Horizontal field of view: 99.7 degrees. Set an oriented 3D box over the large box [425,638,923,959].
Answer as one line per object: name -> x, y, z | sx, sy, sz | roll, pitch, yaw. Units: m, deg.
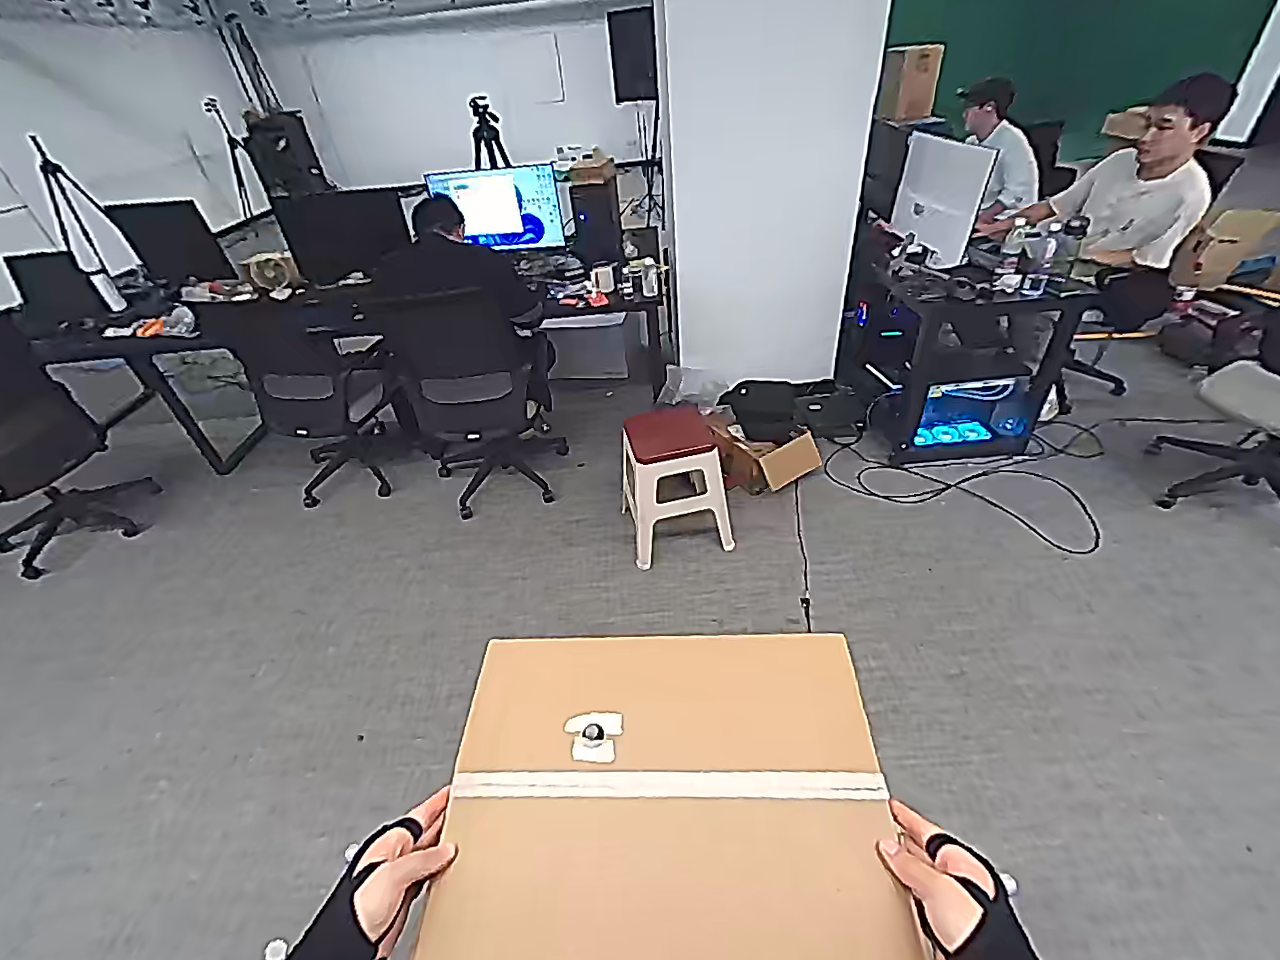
large box -> 0.039, 0.404, 0.616 | 0.408, 0.320, 0.320 | -4, 43, 6
